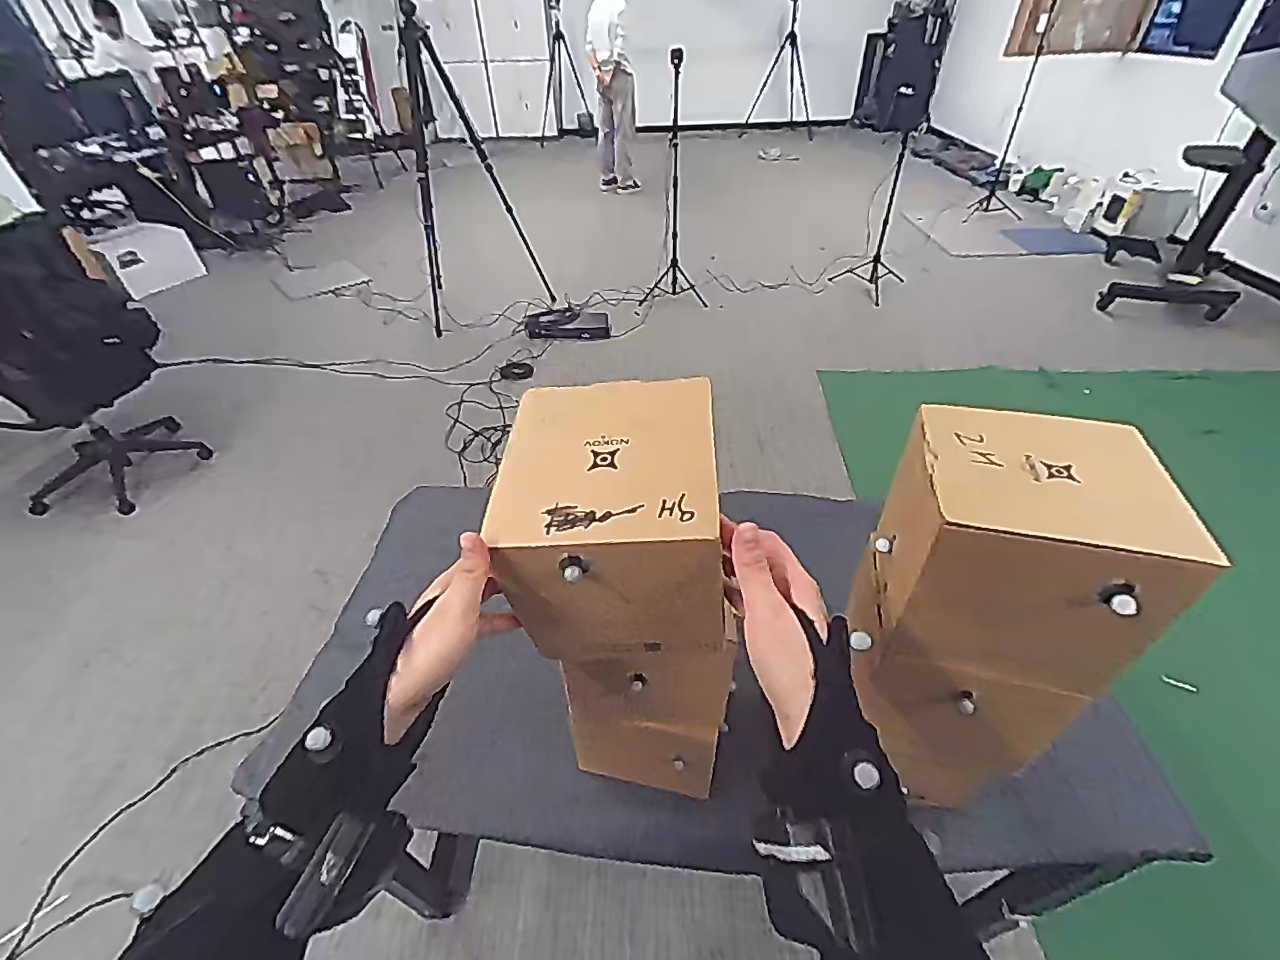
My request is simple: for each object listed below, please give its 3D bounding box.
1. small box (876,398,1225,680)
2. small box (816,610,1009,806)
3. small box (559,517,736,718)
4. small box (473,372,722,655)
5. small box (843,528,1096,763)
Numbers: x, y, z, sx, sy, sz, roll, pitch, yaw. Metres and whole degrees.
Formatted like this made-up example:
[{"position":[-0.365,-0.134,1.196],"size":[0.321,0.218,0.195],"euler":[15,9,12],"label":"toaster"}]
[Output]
[{"position":[0.322,0.050,0.477],"size":[0.179,0.176,0.168],"euler":[9,42,14],"label":"small box"},{"position":[0.334,0.291,0.699],"size":[0.168,0.176,0.179],"euler":[0,41,5],"label":"small box"},{"position":[0.011,0.155,0.622],"size":[0.179,0.176,0.168],"euler":[1,40,4],"label":"small box"},{"position":[-0.017,0.031,0.464],"size":[0.168,0.176,0.179],"euler":[-4,47,8],"label":"small box"},{"position":[0.327,0.178,0.583],"size":[0.179,0.176,0.168],"euler":[7,41,13],"label":"small box"}]
